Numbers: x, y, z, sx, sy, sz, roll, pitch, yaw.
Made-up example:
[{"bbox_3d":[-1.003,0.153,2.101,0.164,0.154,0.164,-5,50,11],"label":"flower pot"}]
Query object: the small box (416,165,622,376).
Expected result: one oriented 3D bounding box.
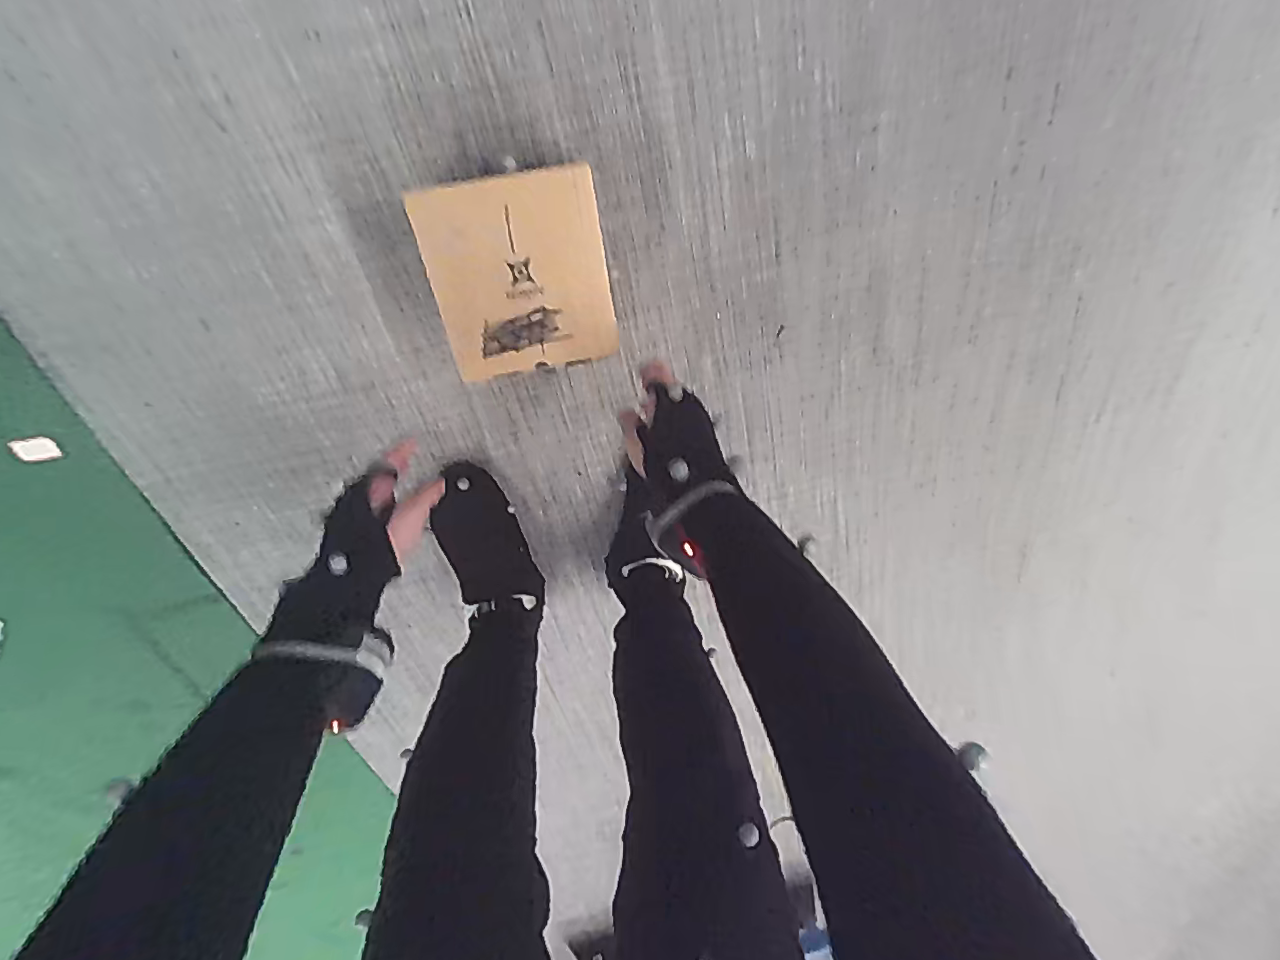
[{"bbox_3d":[-0.116,-0.232,0.584,0.168,0.176,0.179,-10,120,-4],"label":"small box"}]
